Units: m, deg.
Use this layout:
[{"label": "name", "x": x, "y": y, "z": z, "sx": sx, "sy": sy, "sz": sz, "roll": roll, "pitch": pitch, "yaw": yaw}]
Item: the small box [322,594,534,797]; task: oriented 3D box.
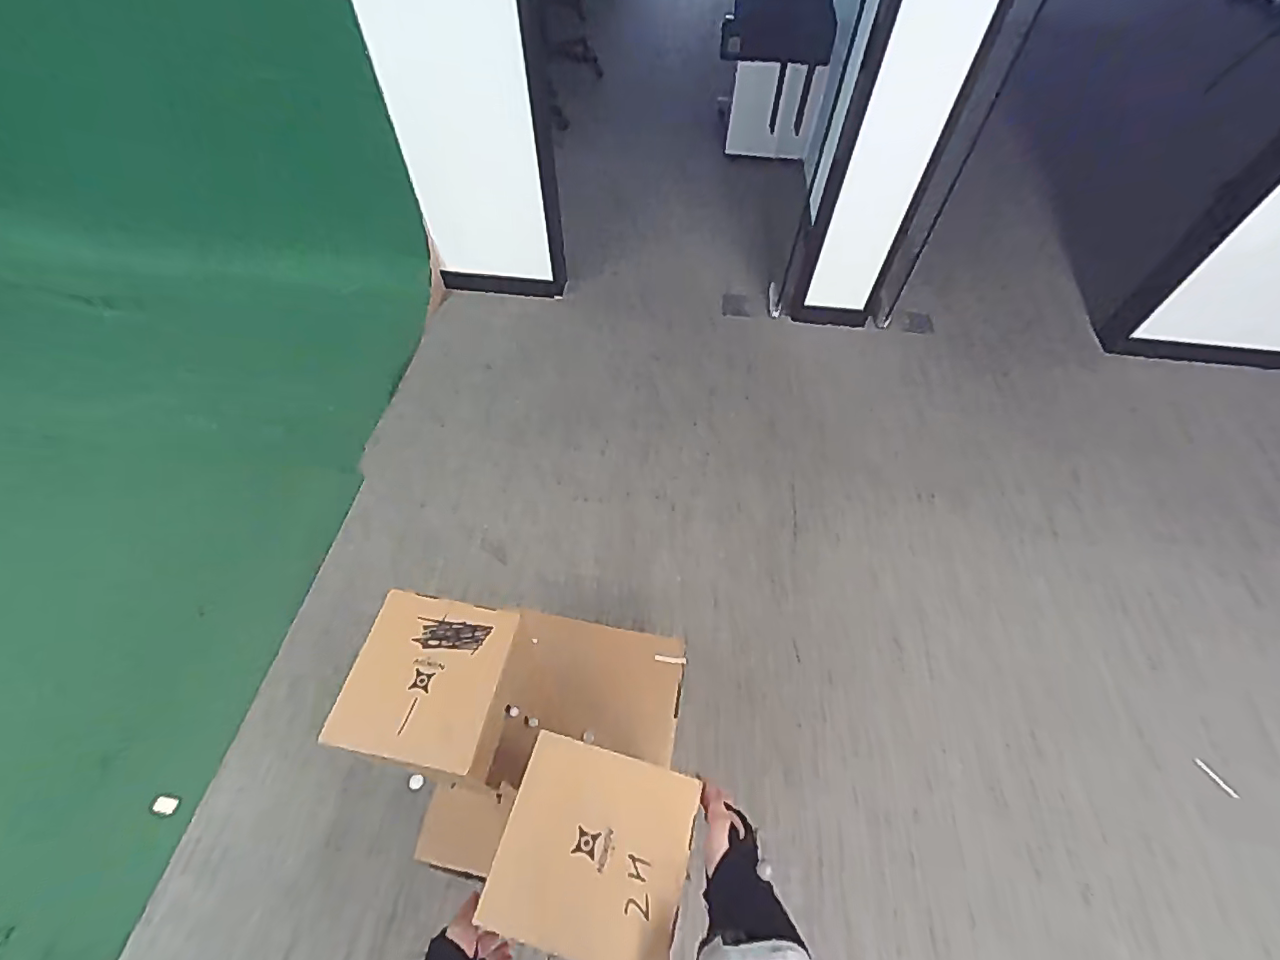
[{"label": "small box", "x": -0.236, "y": 0.267, "z": 0.662, "sx": 0.168, "sy": 0.176, "sz": 0.179, "roll": 10, "pitch": 55, "yaw": 6}]

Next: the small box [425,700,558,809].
[{"label": "small box", "x": -0.246, "y": 0.451, "z": 0.932, "sx": 0.168, "sy": 0.176, "sz": 0.179, "roll": 10, "pitch": 53, "yaw": 6}]

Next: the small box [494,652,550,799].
[{"label": "small box", "x": -0.238, "y": 0.352, "z": 0.801, "sx": 0.168, "sy": 0.176, "sz": 0.179, "roll": 10, "pitch": 56, "yaw": 5}]

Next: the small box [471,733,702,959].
[{"label": "small box", "x": -0.045, "y": 0.392, "z": 0.567, "sx": 0.179, "sy": 0.176, "sz": 0.168, "roll": 14, "pitch": 56, "yaw": 8}]
